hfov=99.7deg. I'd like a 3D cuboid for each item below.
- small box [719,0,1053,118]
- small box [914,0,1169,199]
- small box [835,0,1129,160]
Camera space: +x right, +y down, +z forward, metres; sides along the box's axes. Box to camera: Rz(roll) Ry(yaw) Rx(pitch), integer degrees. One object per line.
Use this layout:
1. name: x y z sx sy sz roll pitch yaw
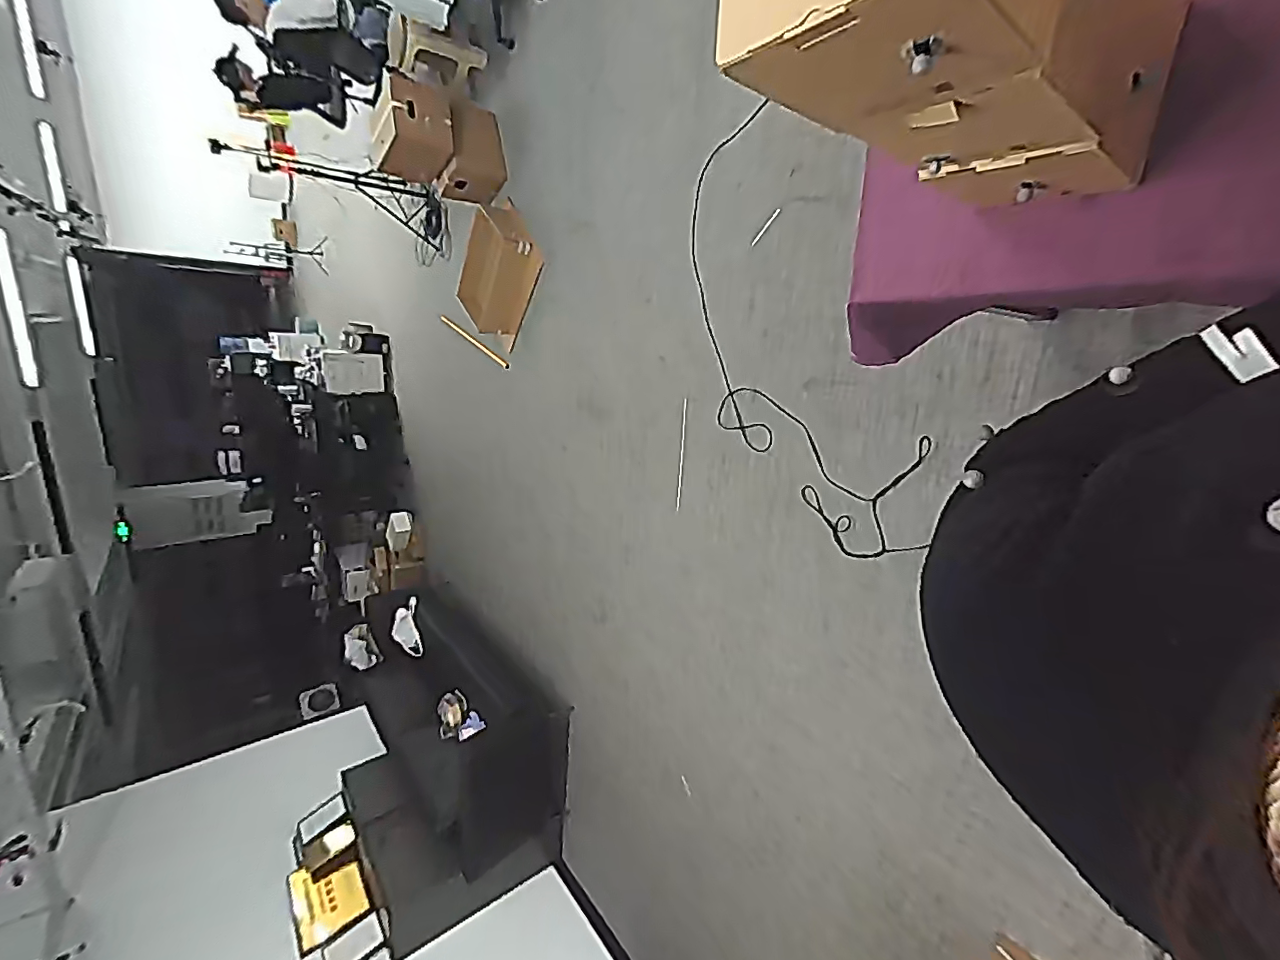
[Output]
1. small box: 0.177 -0.379 0.372 0.168 0.176 0.179 19 111 47
2. small box: 0.428 -0.415 0.581 0.168 0.176 0.179 21 113 46
3. small box: 0.303 -0.401 0.474 0.168 0.176 0.179 23 113 47
